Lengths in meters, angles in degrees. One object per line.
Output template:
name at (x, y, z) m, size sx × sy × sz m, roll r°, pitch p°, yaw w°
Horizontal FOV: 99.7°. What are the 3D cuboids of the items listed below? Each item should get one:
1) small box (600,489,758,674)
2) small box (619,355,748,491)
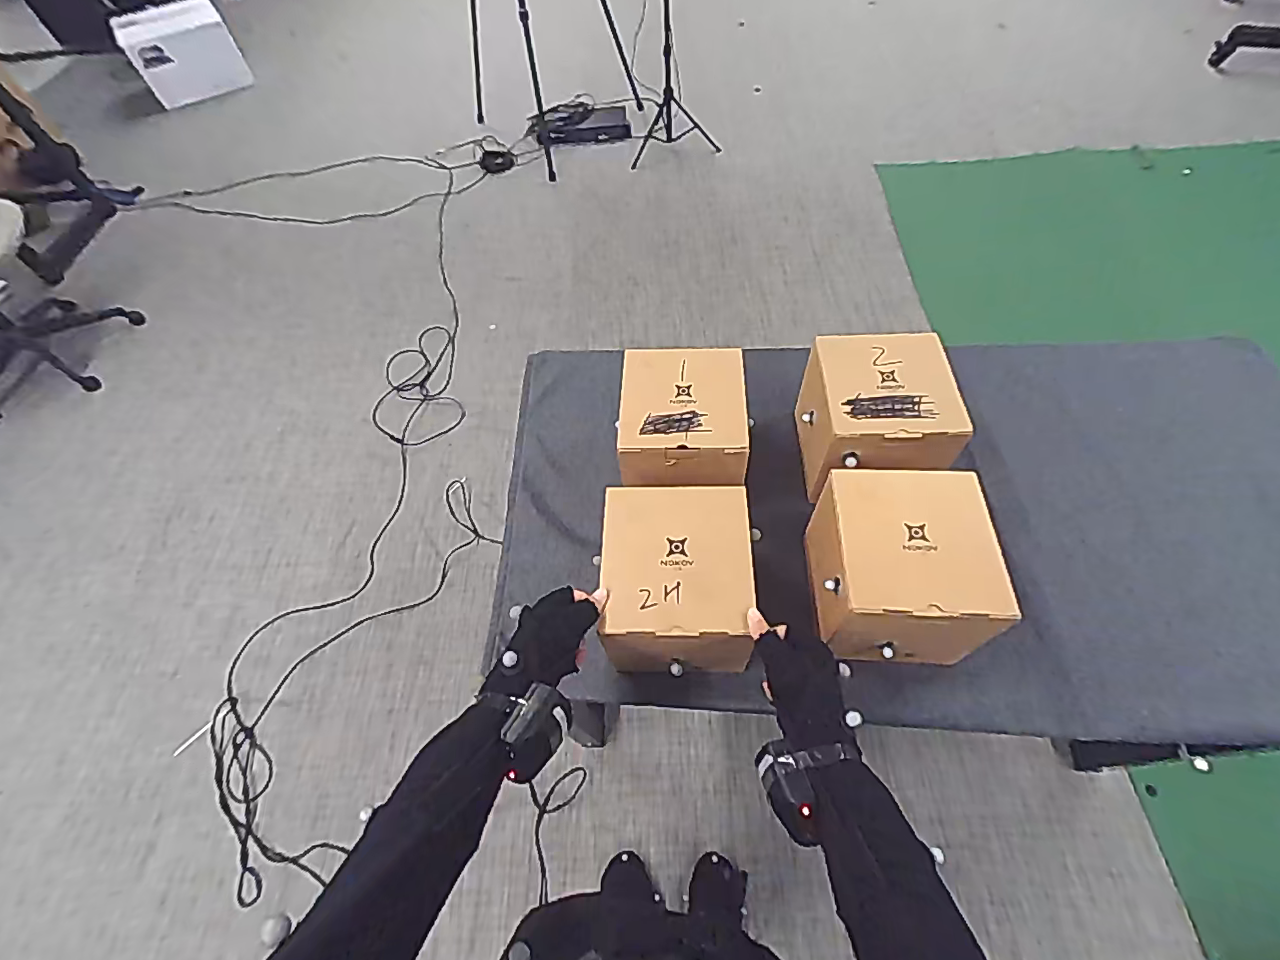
small box at (0.047, 0.128, 0.664) m, size 0.168 × 0.176 × 0.179 m, roll -1°, pitch 58°, yaw 4°
small box at (0.065, -0.060, 0.784) m, size 0.168 × 0.176 × 0.179 m, roll 1°, pitch 57°, yaw 5°
